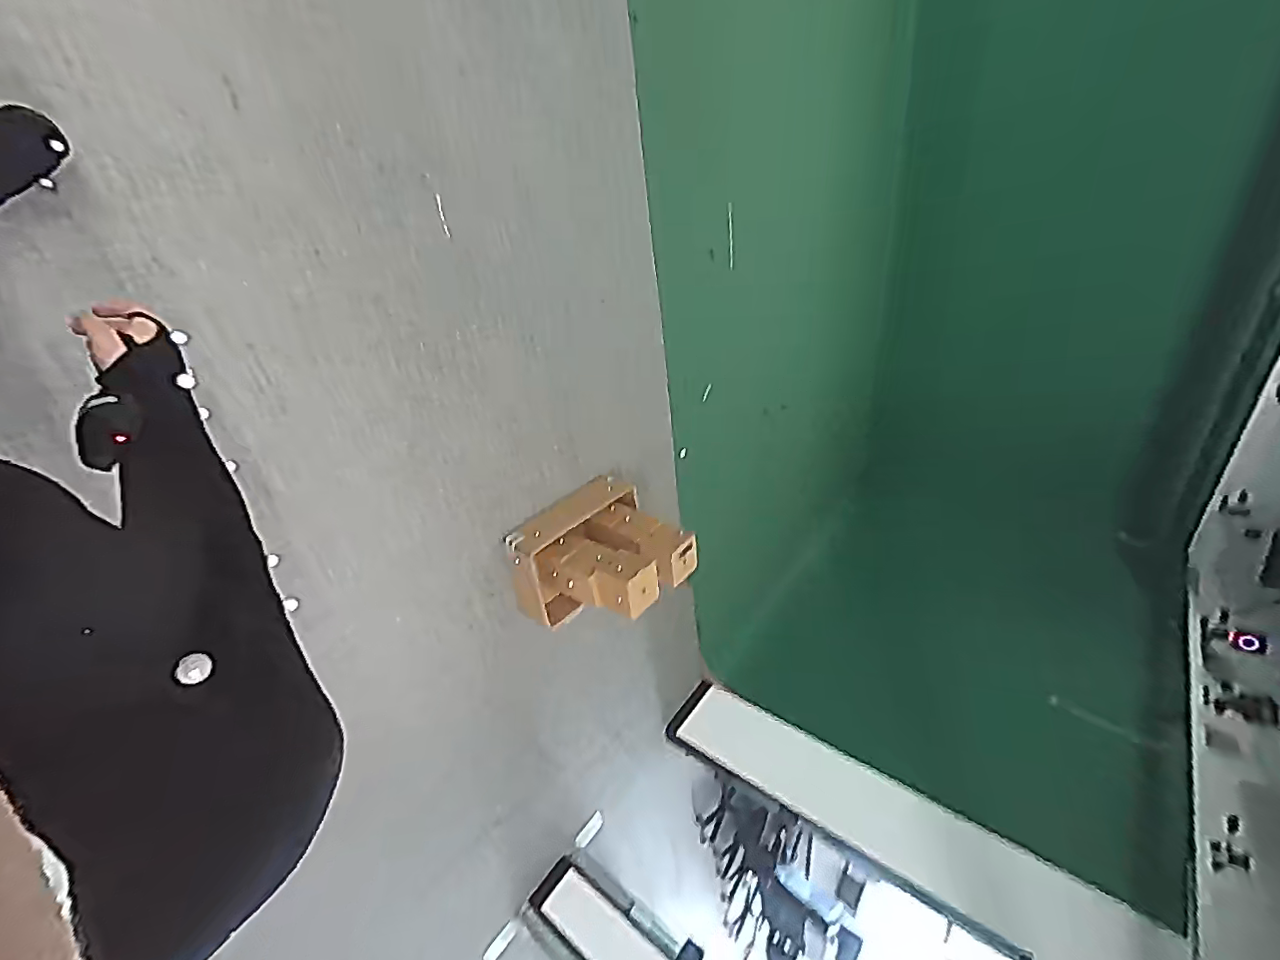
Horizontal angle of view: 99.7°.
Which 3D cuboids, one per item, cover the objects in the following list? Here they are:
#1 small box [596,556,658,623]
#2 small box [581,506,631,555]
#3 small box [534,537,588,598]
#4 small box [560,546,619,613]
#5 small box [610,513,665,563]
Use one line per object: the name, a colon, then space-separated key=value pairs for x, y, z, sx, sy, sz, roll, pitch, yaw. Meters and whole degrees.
small box: x=-0.052 y=0.405 z=2.054 sx=0.168 sy=0.176 sz=0.179 roll=-33 pitch=127 yaw=-42
small box: x=-0.144 y=0.232 z=2.423 sx=0.168 sy=0.176 sz=0.179 roll=-36 pitch=128 yaw=-39
small box: x=-0.317 y=0.352 z=2.240 sx=0.168 sy=0.176 sz=0.179 roll=-34 pitch=128 yaw=-42
small box: x=-0.187 y=0.386 z=2.142 sx=0.179 sy=0.176 sz=0.168 roll=-38 pitch=130 yaw=-39
small box: x=-0.016 y=0.265 z=2.321 sx=0.179 sy=0.176 sz=0.168 roll=-35 pitch=130 yaw=-39
